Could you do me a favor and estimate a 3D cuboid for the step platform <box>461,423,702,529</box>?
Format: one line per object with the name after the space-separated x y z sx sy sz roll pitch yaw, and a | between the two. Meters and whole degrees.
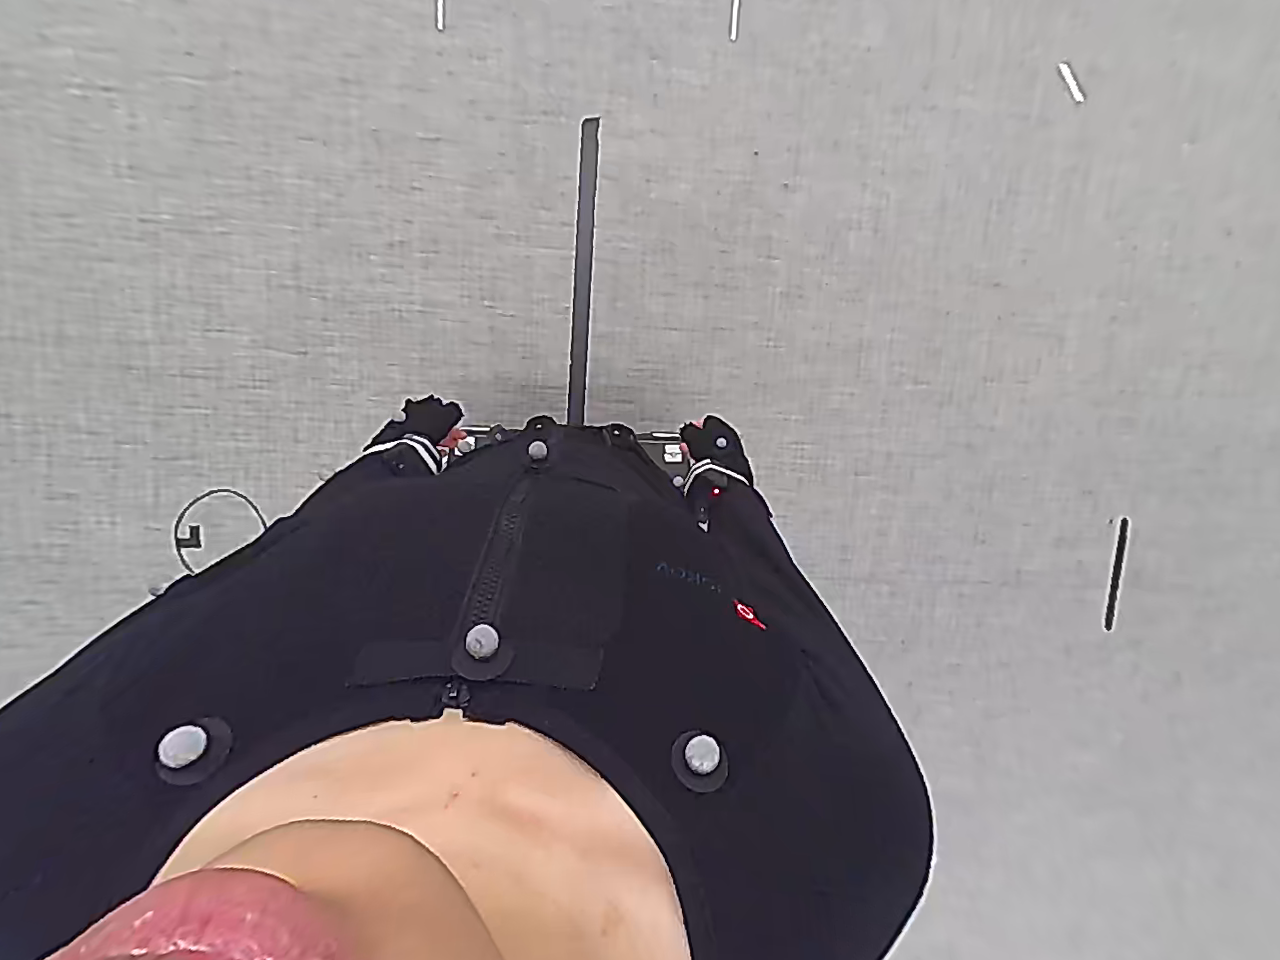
-0.162 -0.014 1.569 0.684 0.204 0.286 1 98 -5 | step platform
